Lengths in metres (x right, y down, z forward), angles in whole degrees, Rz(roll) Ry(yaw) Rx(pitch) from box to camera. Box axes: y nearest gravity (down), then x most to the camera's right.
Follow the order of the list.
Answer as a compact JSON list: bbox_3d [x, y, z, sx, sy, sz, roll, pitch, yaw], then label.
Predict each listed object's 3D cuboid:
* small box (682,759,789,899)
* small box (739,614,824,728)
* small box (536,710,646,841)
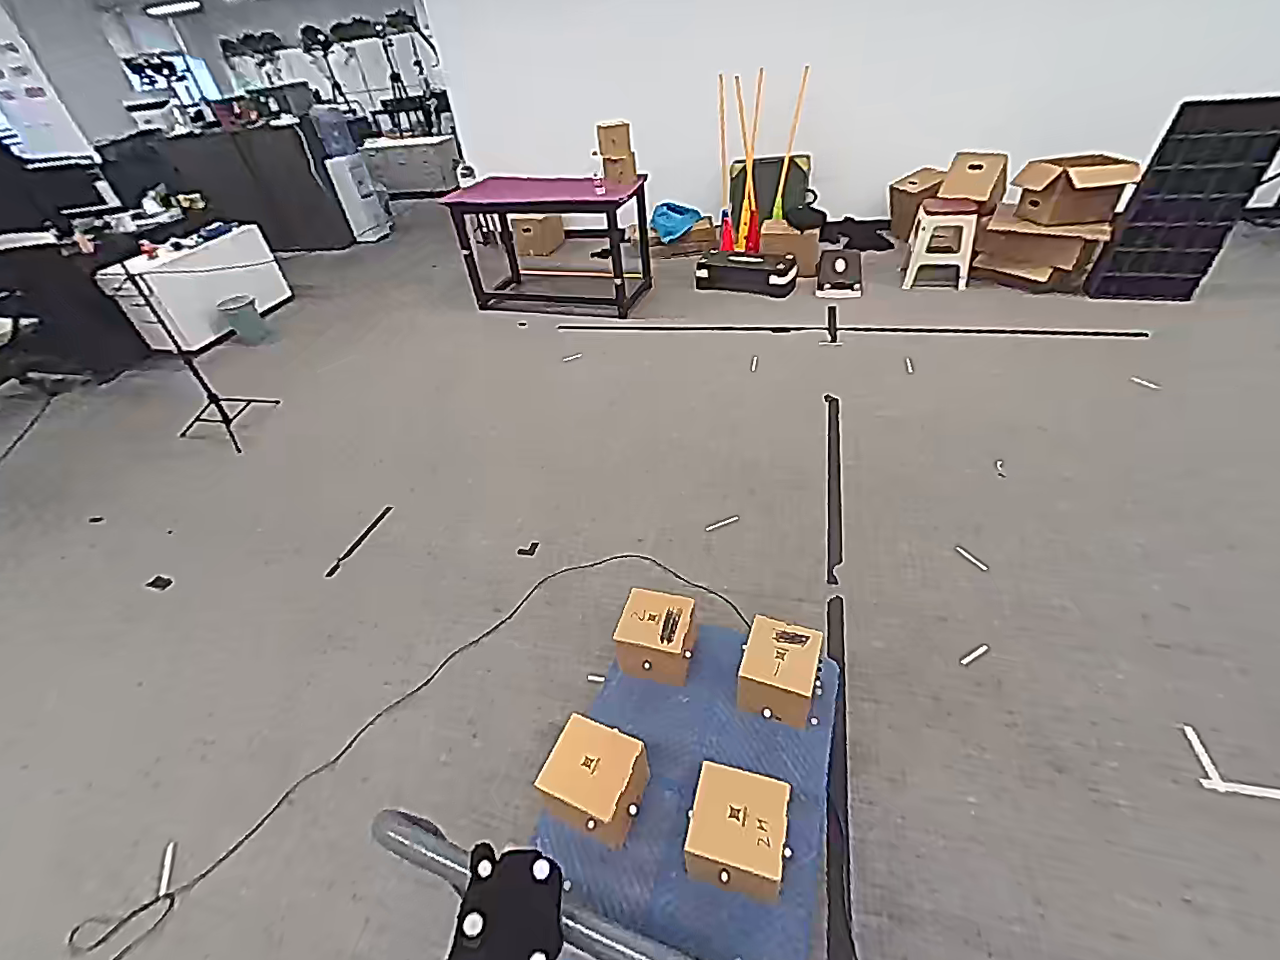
[{"bbox_3d":[0.191,0.691,1.070,0.179,0.176,0.168,8,42,17],"label":"small box"},{"bbox_3d":[0.340,0.465,1.319,0.168,0.176,0.179,12,44,21],"label":"small box"},{"bbox_3d":[-0.098,0.641,1.171,0.179,0.176,0.168,14,43,21],"label":"small box"}]
